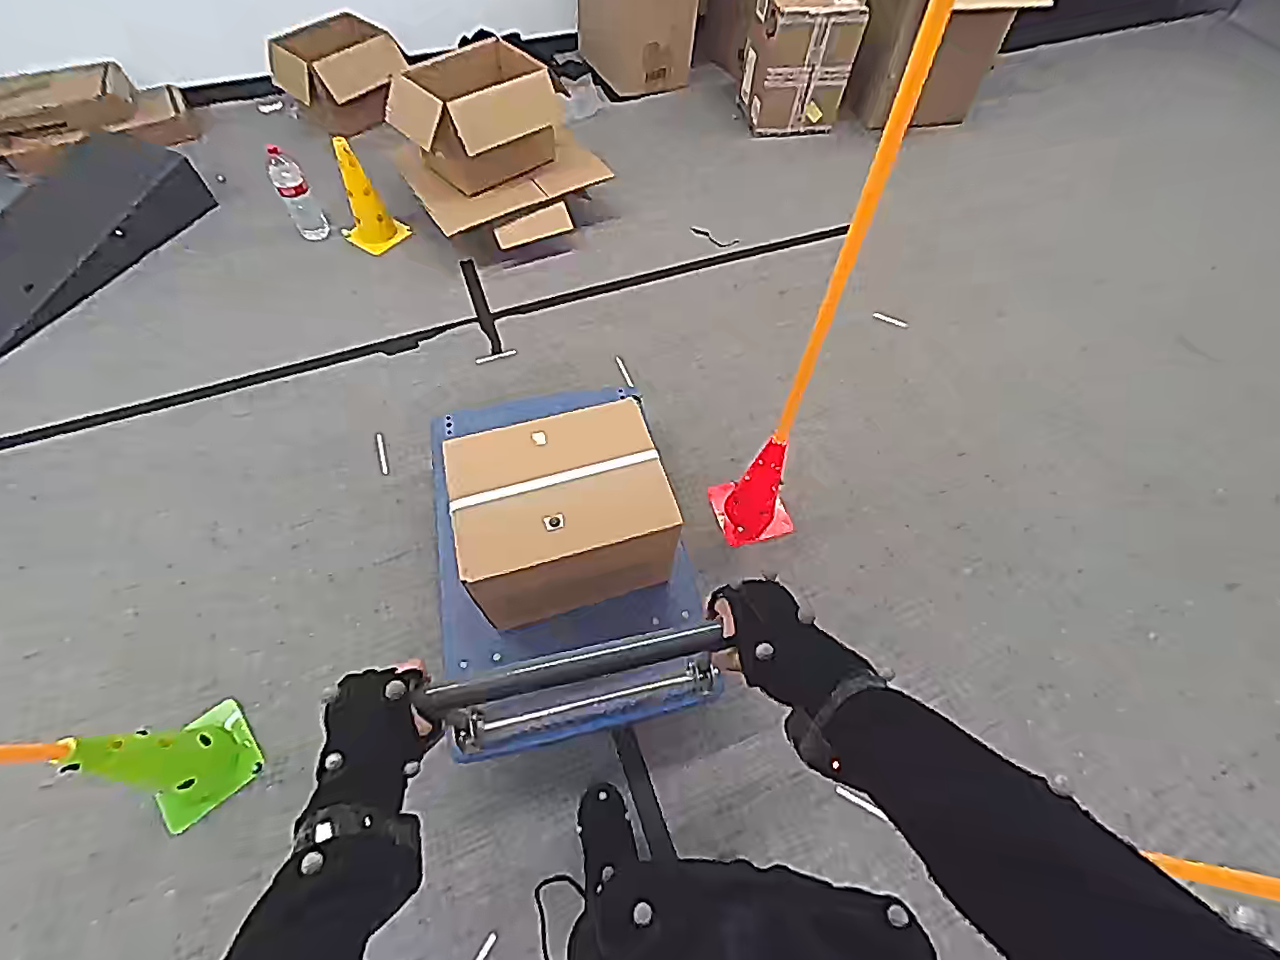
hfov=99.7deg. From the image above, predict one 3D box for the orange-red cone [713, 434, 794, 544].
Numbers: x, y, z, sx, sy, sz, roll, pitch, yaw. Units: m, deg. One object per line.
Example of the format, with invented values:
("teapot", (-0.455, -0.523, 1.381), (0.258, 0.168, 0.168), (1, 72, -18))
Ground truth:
("orange-red cone", (0.330, -0.005, 1.411), (0.199, 0.360, 0.198), (-12, 61, -10))
